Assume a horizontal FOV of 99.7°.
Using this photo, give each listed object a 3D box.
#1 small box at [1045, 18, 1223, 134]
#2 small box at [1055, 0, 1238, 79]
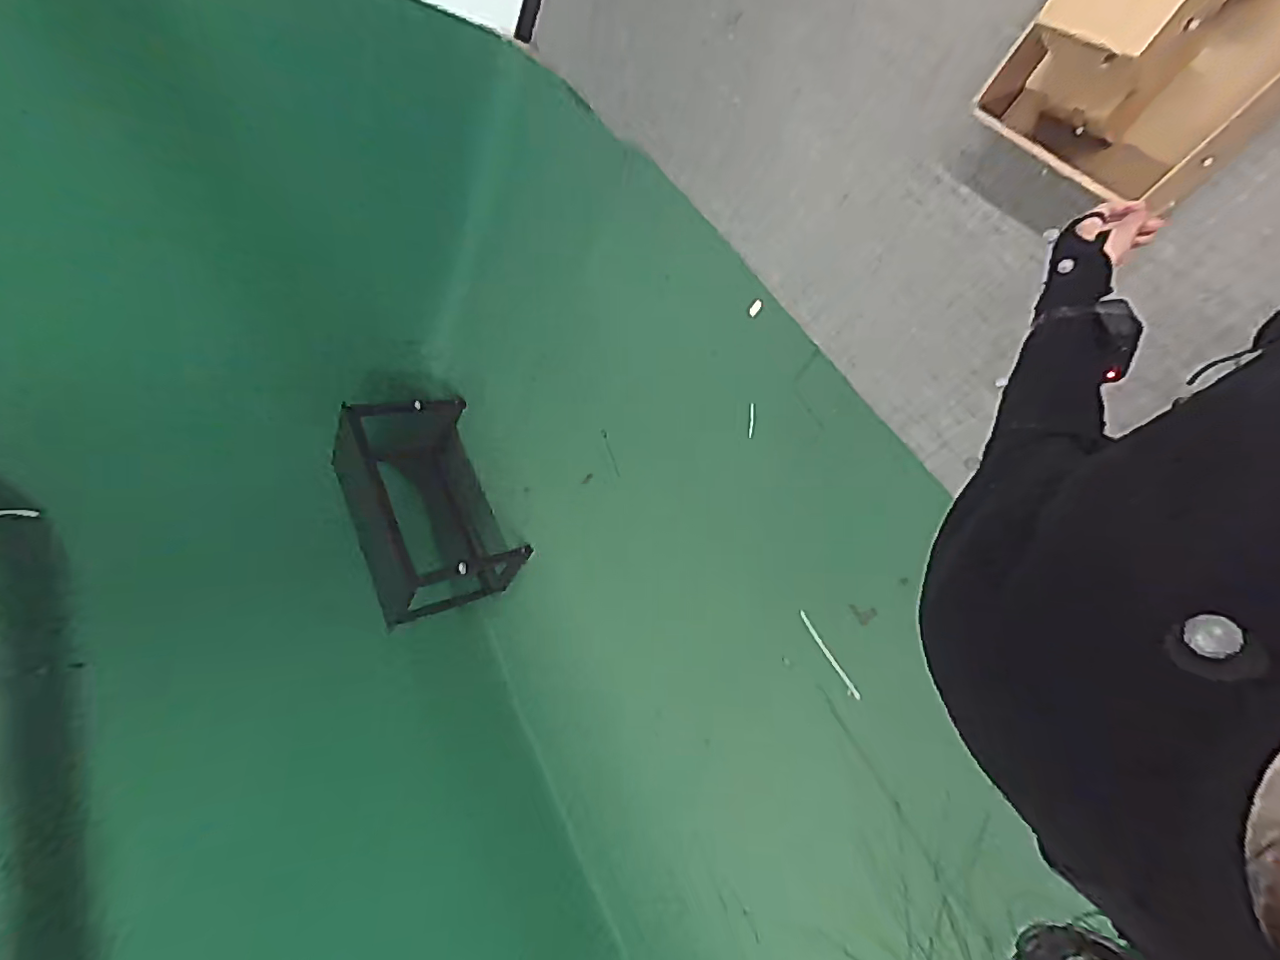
[{"bbox_3d":[0.898,-0.769,0.983,0.168,0.176,0.179,53,133,26],"label":"small box"},{"bbox_3d":[0.806,-0.761,0.839,0.179,0.176,0.168,52,132,27],"label":"small box"}]
